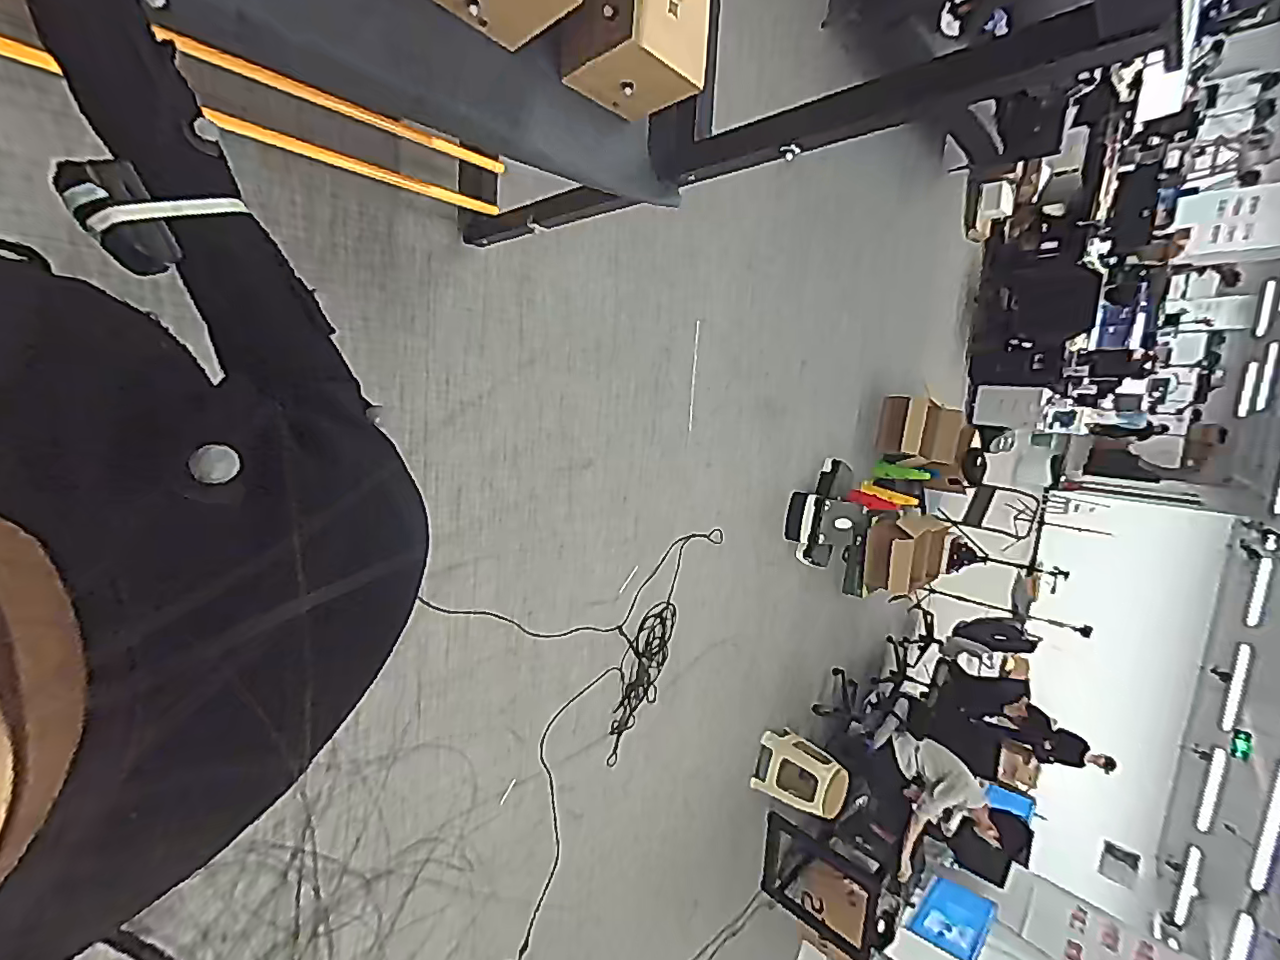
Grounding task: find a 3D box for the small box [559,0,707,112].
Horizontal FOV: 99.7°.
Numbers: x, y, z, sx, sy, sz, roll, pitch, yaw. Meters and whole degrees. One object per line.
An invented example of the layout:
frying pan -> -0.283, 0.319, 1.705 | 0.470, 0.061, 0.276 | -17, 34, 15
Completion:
small box -> -0.014, -0.726, 0.856 | 0.168, 0.176, 0.179 | -5, 102, -46
